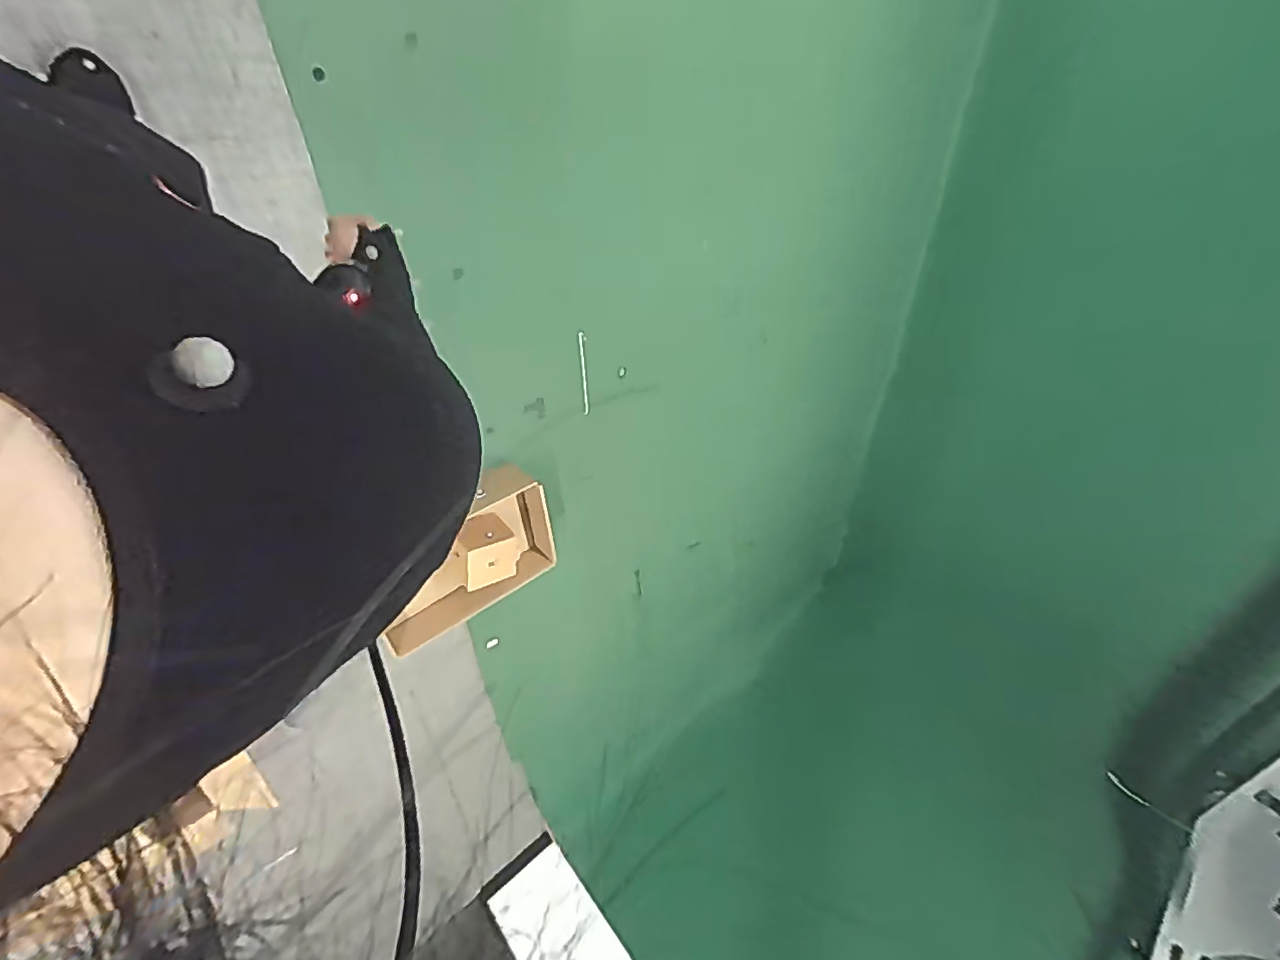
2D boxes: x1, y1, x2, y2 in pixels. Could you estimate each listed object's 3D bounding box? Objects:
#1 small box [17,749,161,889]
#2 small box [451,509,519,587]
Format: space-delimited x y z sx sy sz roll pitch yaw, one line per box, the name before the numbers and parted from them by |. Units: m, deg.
small box | -1.233 0.752 1.217 0.179 0.176 0.168 -26 131 -31
small box | -0.523 0.221 1.810 0.179 0.176 0.168 -18 129 -37
